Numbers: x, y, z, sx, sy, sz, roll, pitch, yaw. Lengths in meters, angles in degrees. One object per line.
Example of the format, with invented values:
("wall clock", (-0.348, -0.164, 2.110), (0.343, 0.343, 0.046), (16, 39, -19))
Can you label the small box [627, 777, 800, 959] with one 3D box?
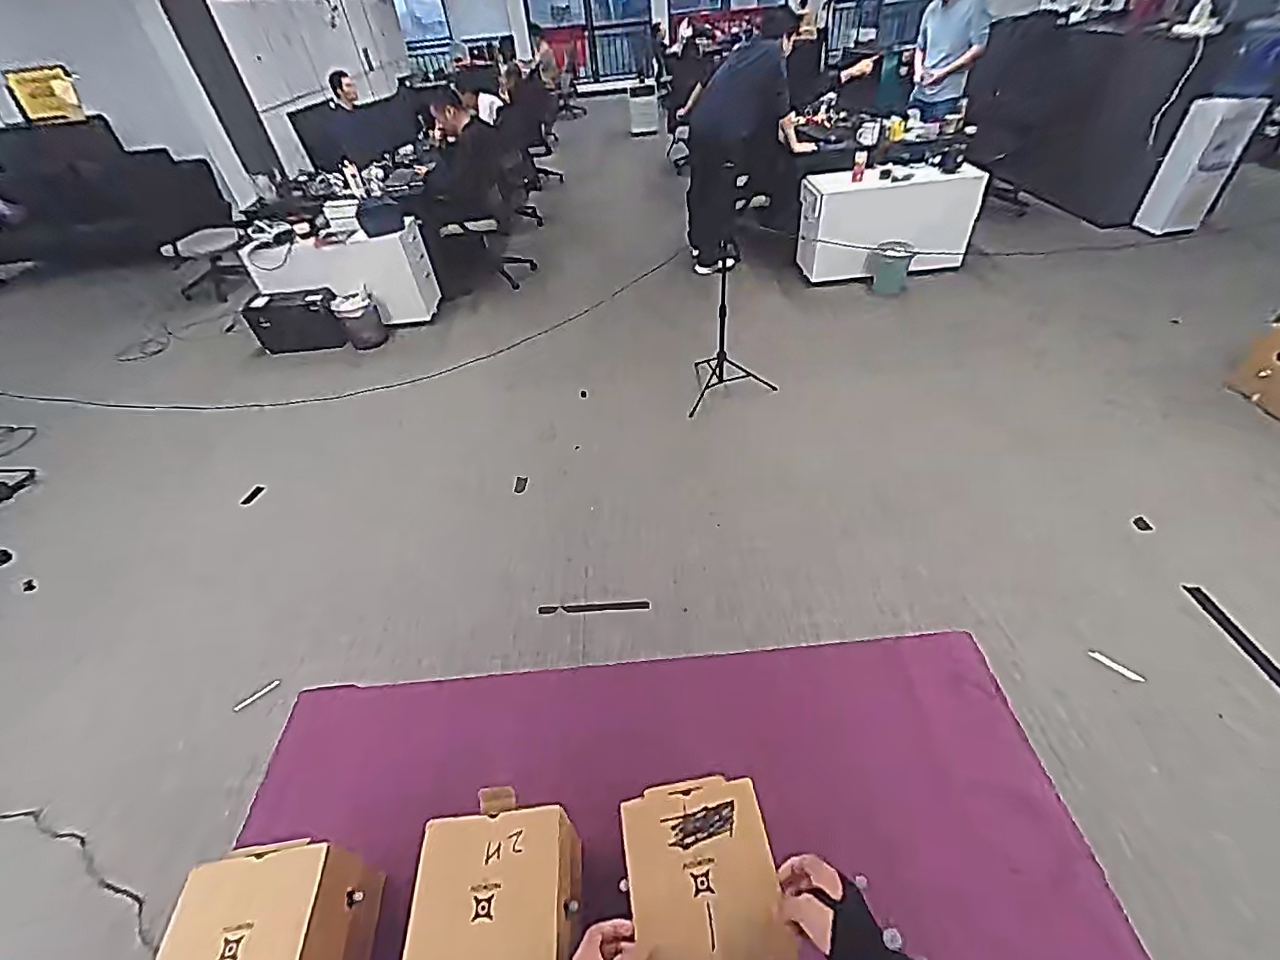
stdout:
("small box", (0.078, 0.498, 0.663), (0.168, 0.176, 0.179), (-9, 43, -3))

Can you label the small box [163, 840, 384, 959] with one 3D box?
("small box", (-0.433, 0.568, 0.651), (0.168, 0.176, 0.179), (-8, 42, -1))

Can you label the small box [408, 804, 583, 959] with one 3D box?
("small box", (-0.162, 0.527, 0.662), (0.168, 0.176, 0.179), (-6, 42, -1))
